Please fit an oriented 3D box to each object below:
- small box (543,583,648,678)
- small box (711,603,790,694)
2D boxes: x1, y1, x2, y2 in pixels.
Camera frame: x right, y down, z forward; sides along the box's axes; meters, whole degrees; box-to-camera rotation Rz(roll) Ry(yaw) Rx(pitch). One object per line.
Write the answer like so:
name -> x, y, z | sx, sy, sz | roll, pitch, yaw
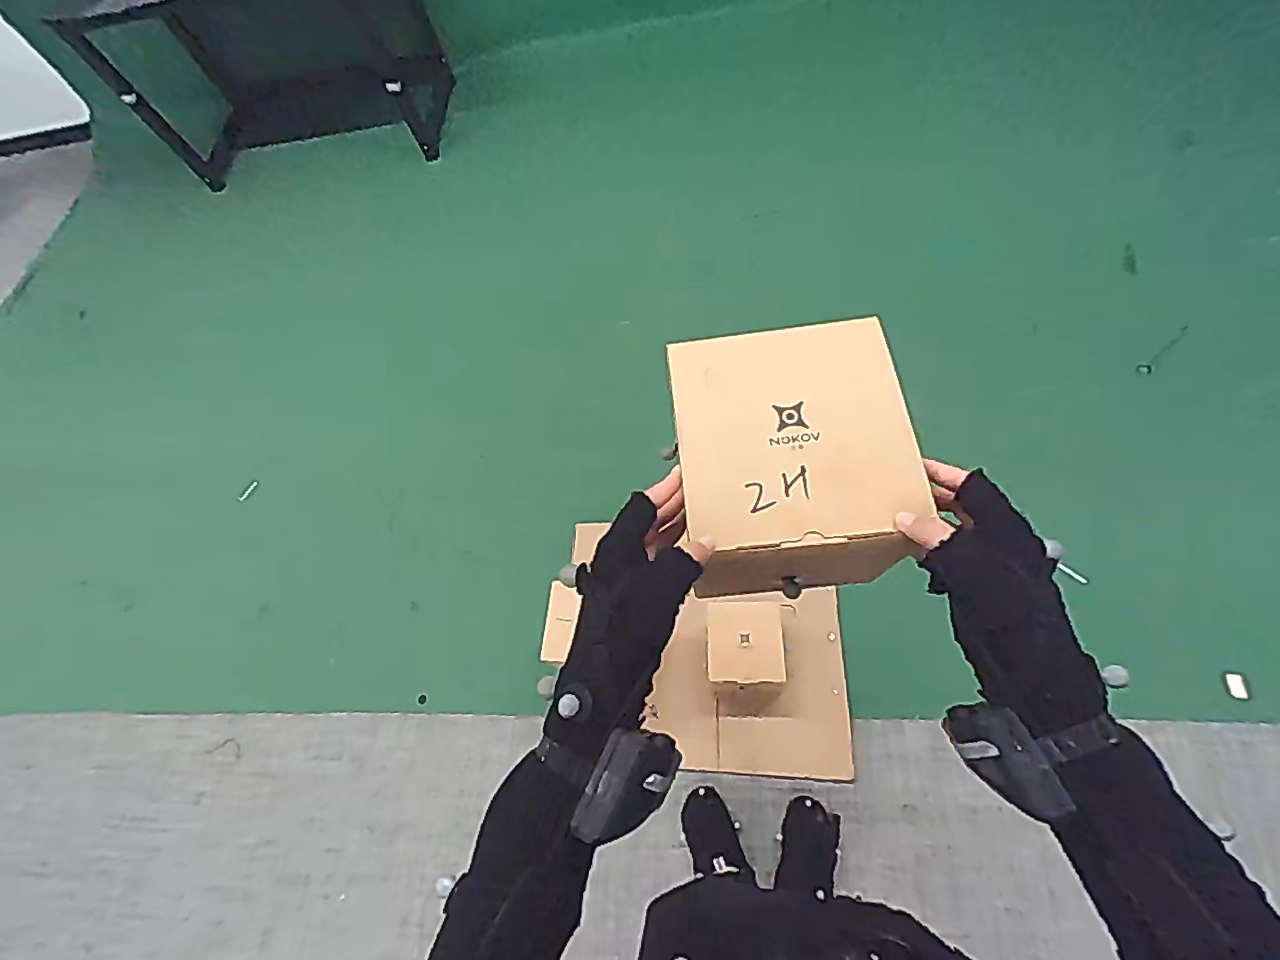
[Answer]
small box -> -0.086, 0.326, 1.161 | 0.179, 0.176, 0.168 | 0, 64, 13
small box -> 0.250, 0.393, 1.253 | 0.168, 0.176, 0.179 | -3, 64, 10
